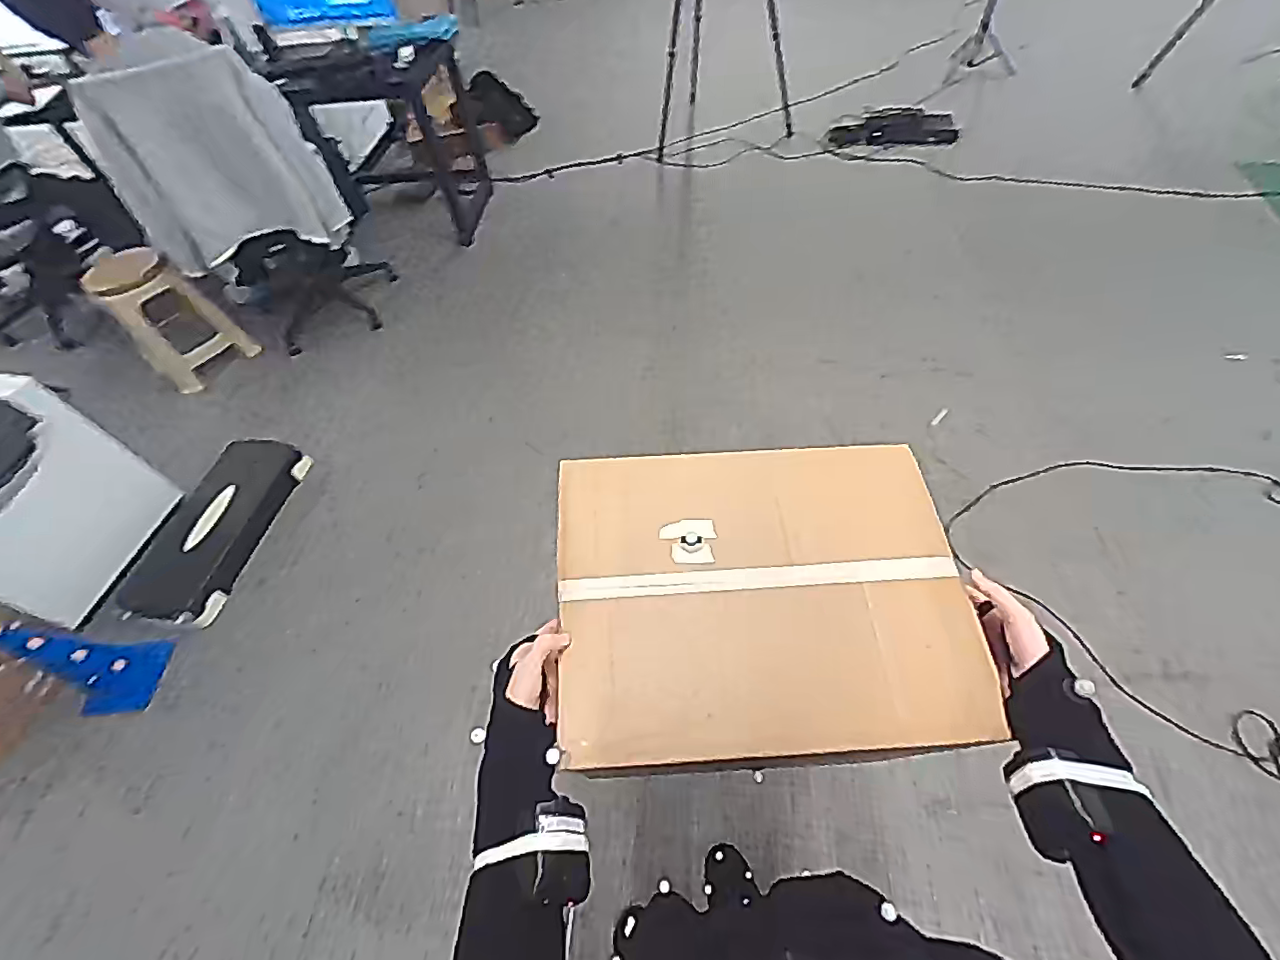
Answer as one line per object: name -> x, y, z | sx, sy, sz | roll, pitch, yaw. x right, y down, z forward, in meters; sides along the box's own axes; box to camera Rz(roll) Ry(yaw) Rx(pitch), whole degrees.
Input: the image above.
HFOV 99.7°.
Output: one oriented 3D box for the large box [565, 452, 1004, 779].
large box -> 0.126, 0.187, 0.683 | 0.408, 0.320, 0.320 | -4, 59, -1
